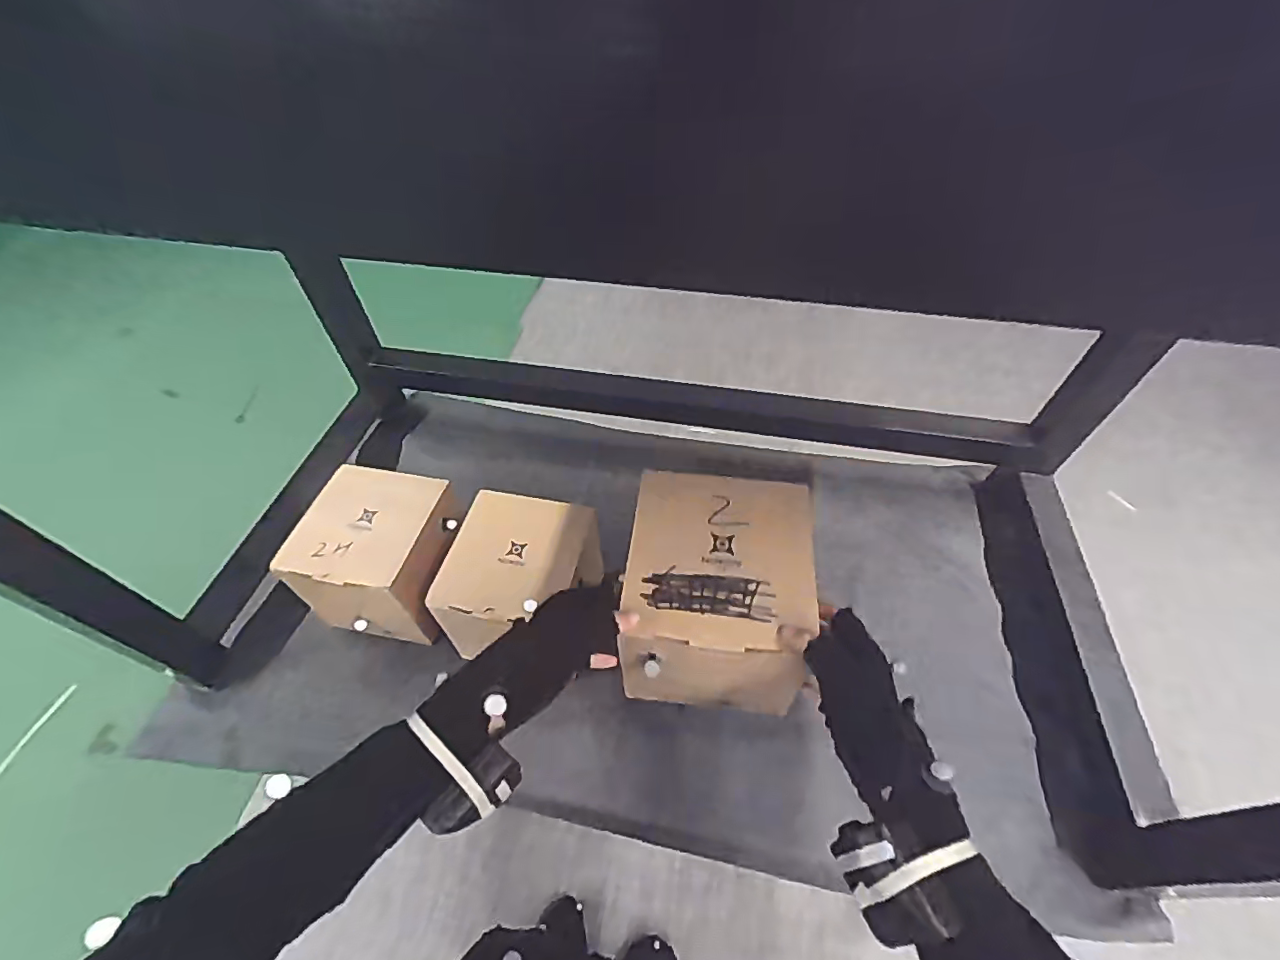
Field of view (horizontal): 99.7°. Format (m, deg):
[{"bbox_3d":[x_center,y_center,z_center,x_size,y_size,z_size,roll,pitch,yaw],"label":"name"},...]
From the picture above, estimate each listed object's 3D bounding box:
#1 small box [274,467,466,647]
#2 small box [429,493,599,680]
[{"bbox_3d":[-0.357,0.110,0.769,0.168,0.176,0.179,9,51,8],"label":"small box"},{"bbox_3d":[-0.155,0.147,0.740,0.168,0.176,0.179,9,52,8],"label":"small box"}]
